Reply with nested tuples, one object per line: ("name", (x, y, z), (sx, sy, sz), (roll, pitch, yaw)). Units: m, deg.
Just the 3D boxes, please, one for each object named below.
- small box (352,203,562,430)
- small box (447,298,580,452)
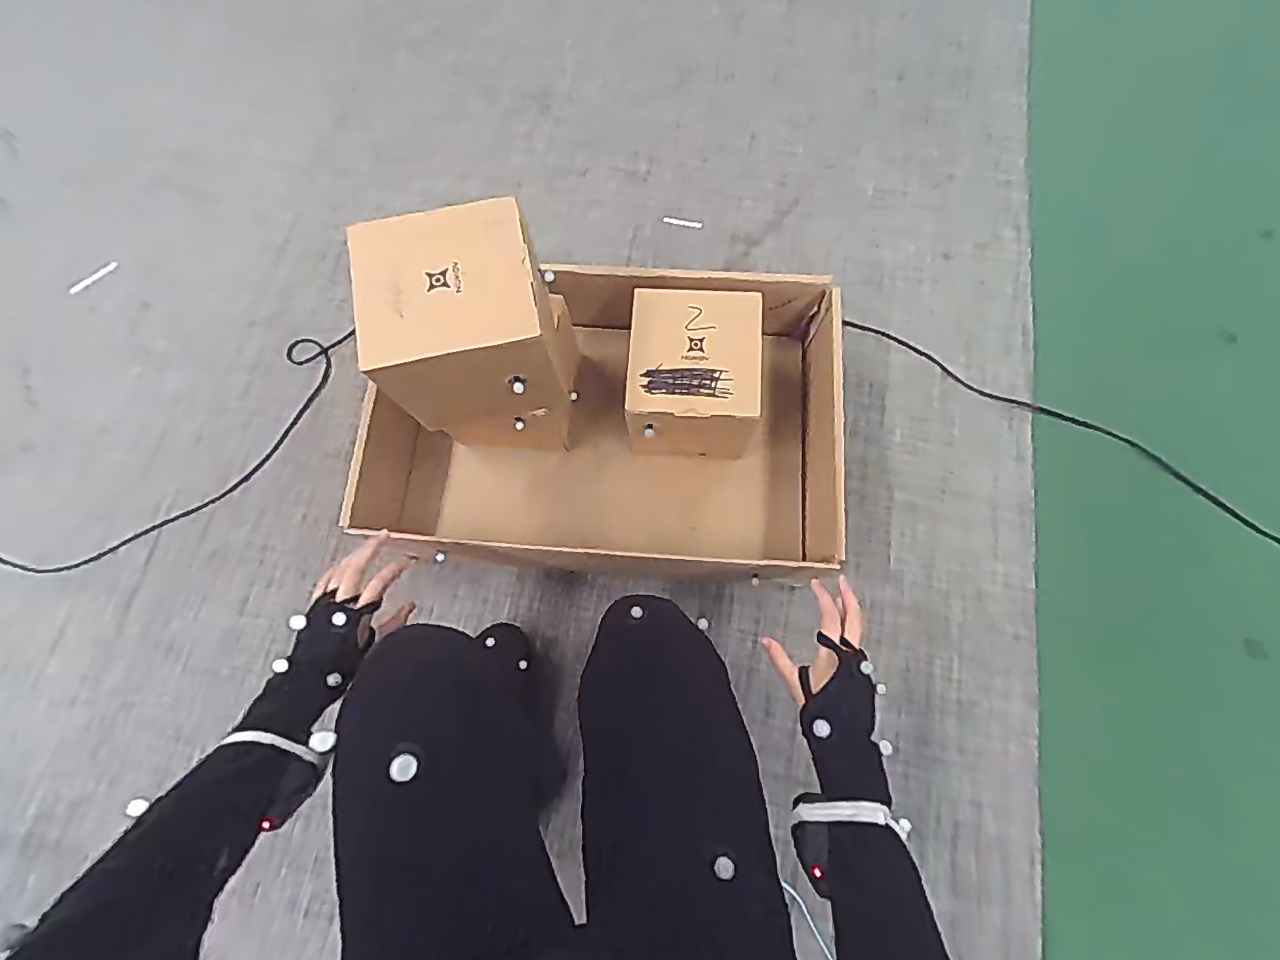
("small box", (-0.189, -0.169, 0.604), (0.179, 0.176, 0.168), (-11, 75, -1))
("small box", (-0.191, -0.144, 0.766), (0.179, 0.176, 0.168), (5, 76, 2))
